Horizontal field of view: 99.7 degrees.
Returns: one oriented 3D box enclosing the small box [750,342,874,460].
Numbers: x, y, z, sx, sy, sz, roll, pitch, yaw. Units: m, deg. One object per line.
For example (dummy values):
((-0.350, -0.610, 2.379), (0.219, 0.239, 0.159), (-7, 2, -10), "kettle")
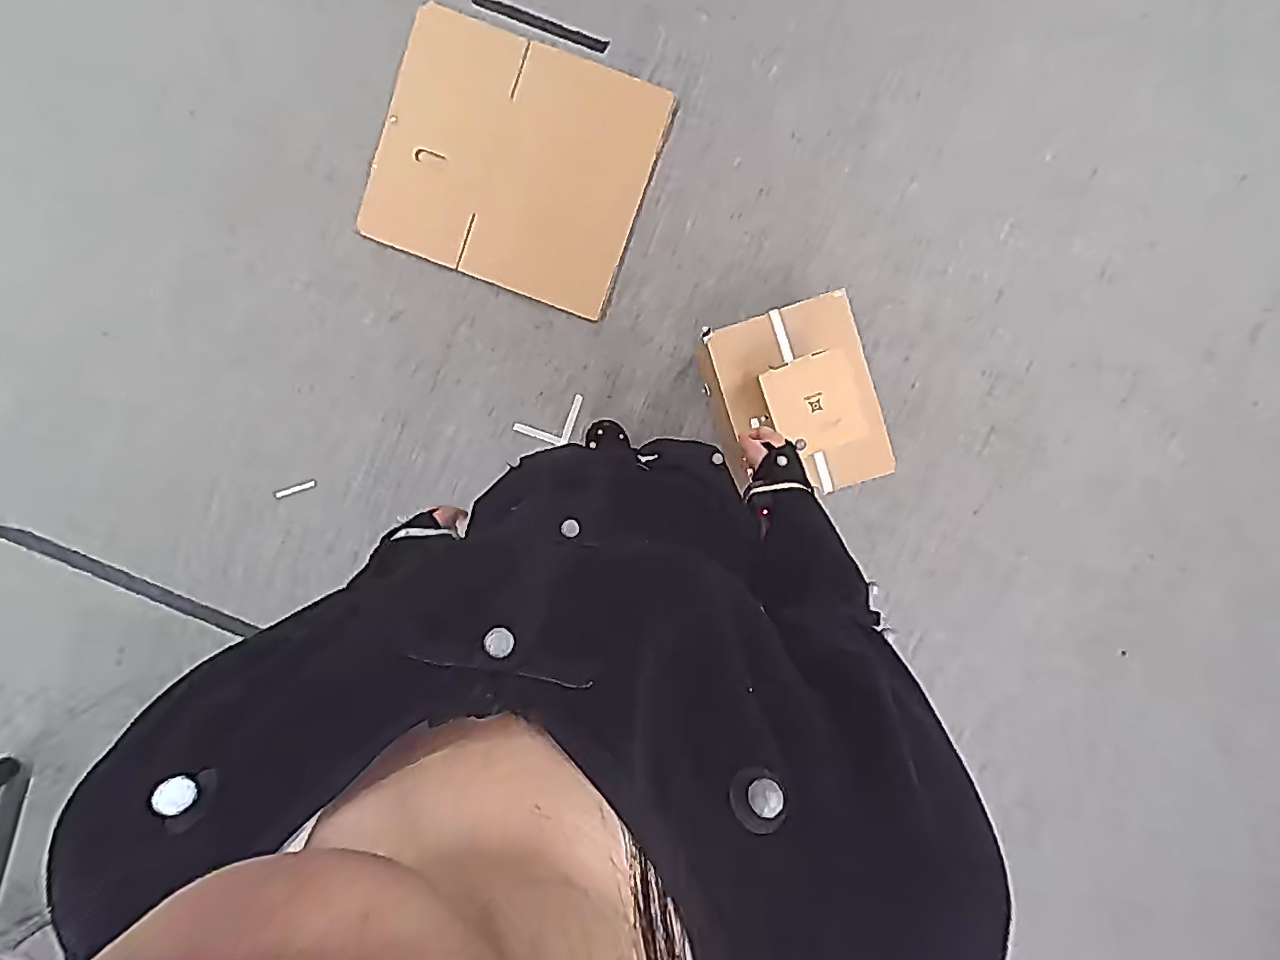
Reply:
((0.328, -0.151, 1.069), (0.168, 0.176, 0.179), (-20, 95, 6), "small box")
